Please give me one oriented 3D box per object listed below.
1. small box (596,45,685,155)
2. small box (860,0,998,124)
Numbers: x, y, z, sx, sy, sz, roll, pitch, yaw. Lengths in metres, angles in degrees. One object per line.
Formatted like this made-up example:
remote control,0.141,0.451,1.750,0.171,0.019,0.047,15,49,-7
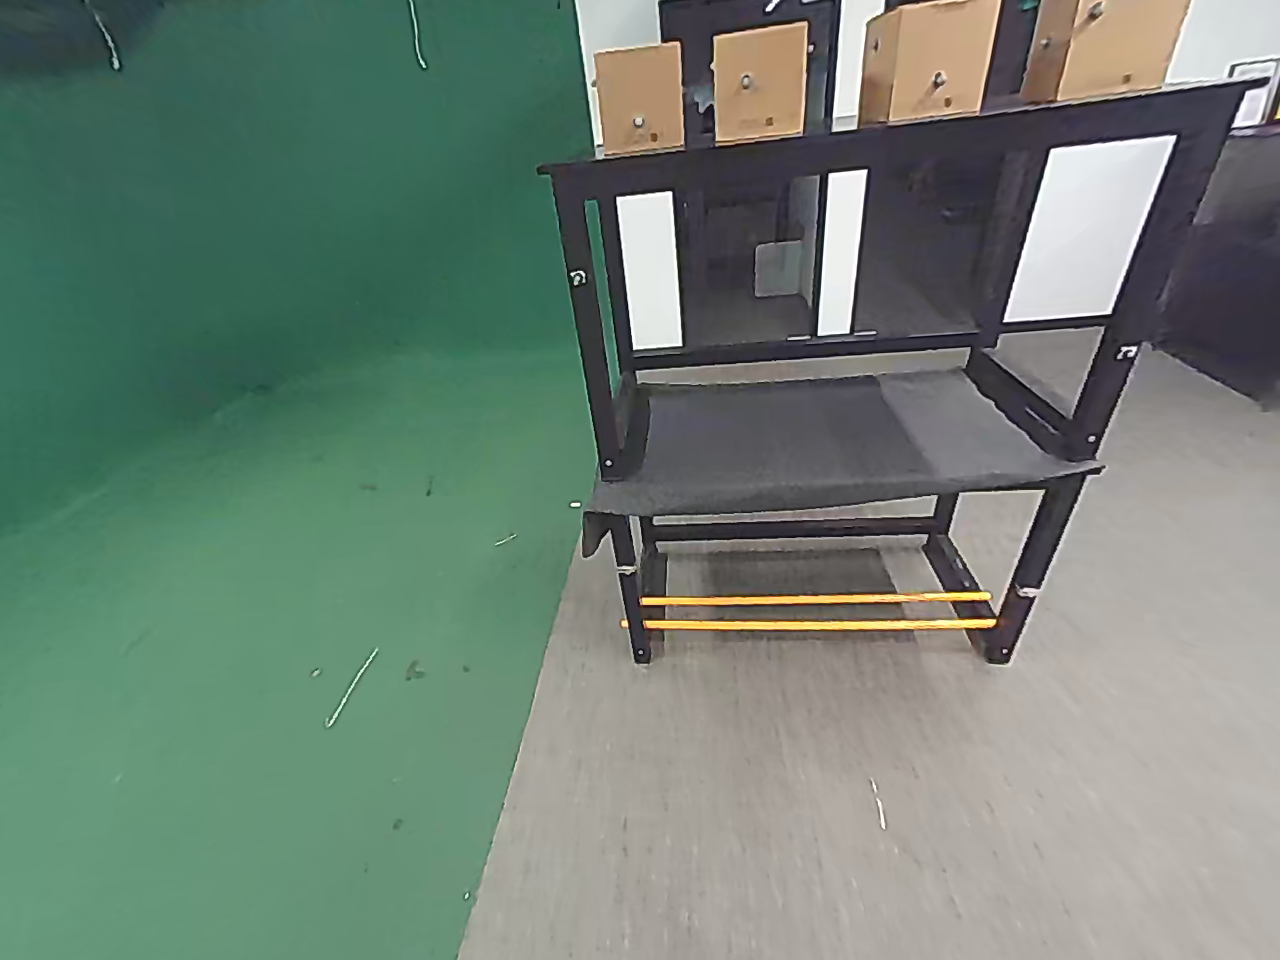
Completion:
small box,0.004,-0.783,1.126,0.168,0.176,0.179,-6,34,2
small box,0.533,-0.785,1.028,0.168,0.176,0.179,-5,33,4
